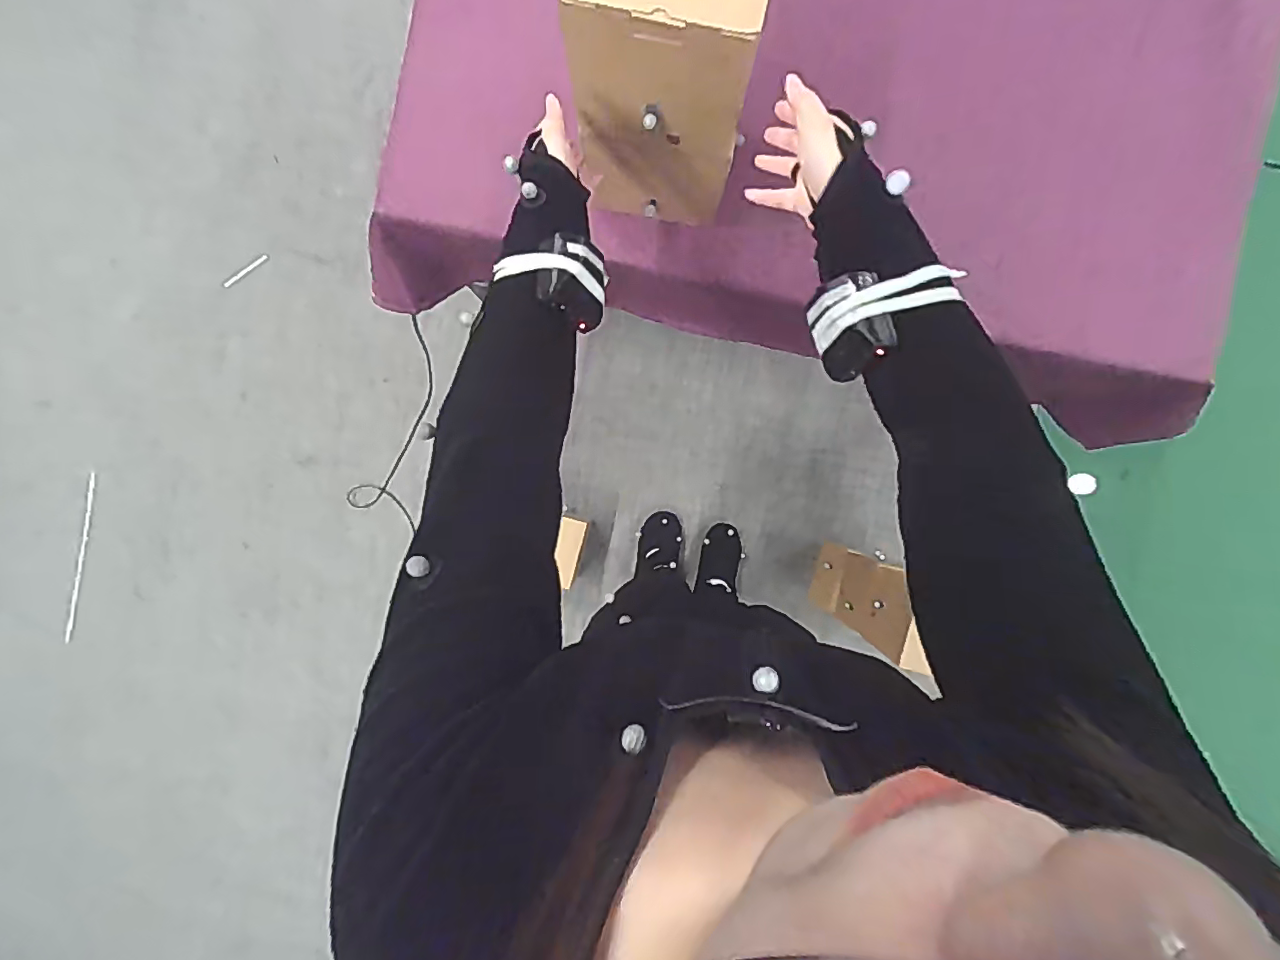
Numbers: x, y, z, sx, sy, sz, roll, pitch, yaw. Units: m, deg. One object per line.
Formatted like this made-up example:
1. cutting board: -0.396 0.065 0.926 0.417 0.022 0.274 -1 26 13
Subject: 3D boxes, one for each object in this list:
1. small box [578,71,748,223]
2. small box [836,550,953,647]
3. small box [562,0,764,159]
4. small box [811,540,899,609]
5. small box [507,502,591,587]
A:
1. small box: 0.028 -0.448 0.679 0.179 0.176 0.168 10 90 -1
2. small box: 0.580 0.266 1.258 0.179 0.176 0.168 13 92 -1
3. small box: 0.030 -0.451 0.512 0.168 0.176 0.179 12 90 0
4. small box: 0.571 0.260 1.421 0.179 0.176 0.168 15 91 -1
5. small box: -0.230 0.162 1.416 0.168 0.176 0.179 15 90 -1
